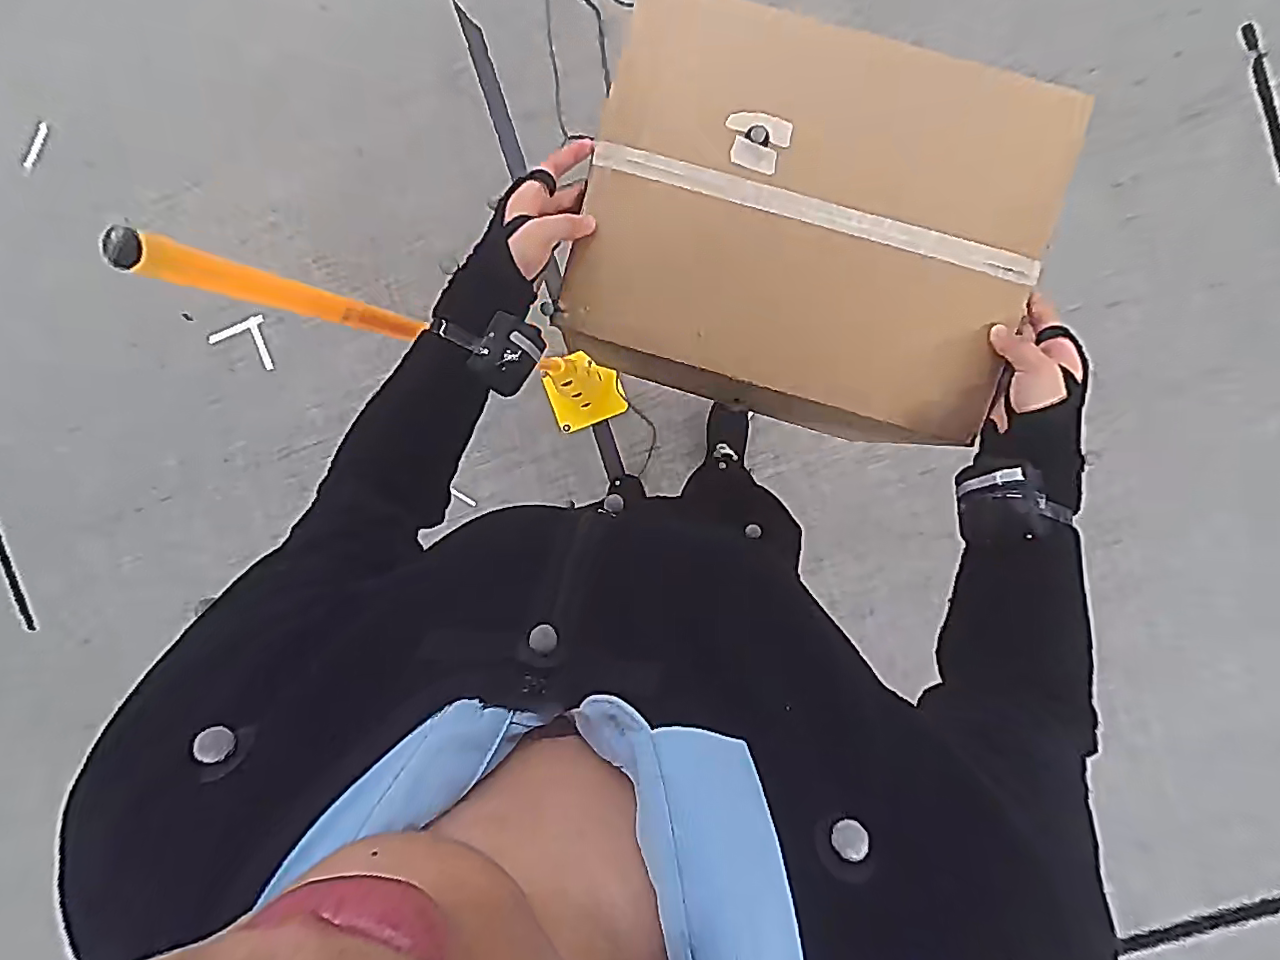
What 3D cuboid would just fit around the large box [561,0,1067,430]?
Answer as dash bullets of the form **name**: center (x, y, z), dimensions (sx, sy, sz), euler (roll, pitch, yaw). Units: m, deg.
- **large box**: center (0.161, -0.254, 0.647), dimensions (0.408, 0.320, 0.320), euler (16, 94, 1)
